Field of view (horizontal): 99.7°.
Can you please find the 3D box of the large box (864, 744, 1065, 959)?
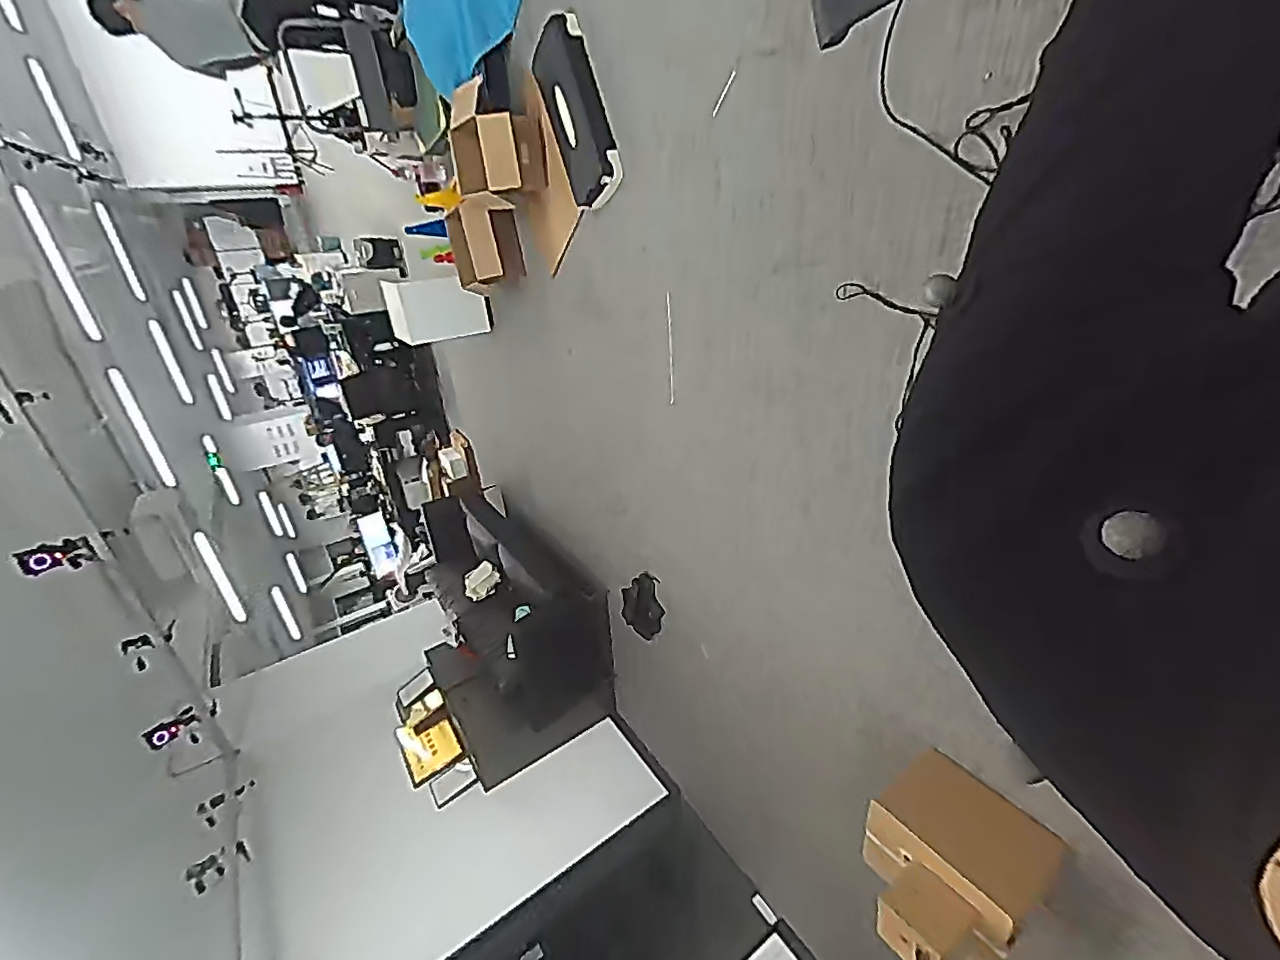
[{"bbox_3d":[0.956,1.107,1.628,0.408,0.320,0.320,31,132,51],"label":"large box"}]
